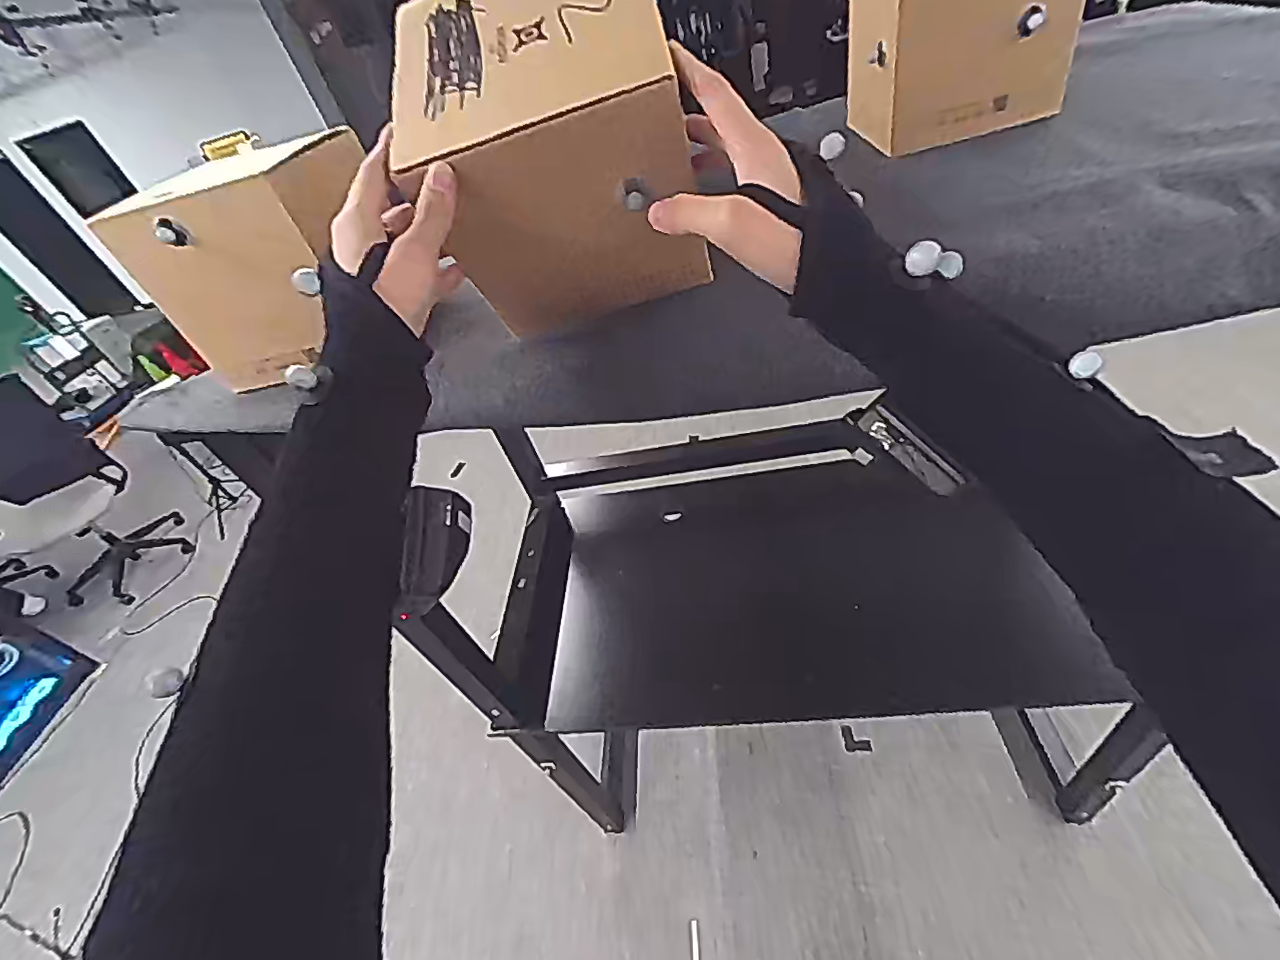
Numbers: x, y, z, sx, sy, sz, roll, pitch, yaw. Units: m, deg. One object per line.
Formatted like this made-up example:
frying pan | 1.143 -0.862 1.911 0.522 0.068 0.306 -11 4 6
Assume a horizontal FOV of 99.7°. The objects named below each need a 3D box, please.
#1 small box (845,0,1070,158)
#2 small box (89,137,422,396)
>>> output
small box | 0.324 -0.466 0.575 0.168 0.176 0.179 -10 42 9
small box | -0.343 -0.208 0.532 0.168 0.176 0.179 -11 41 9
